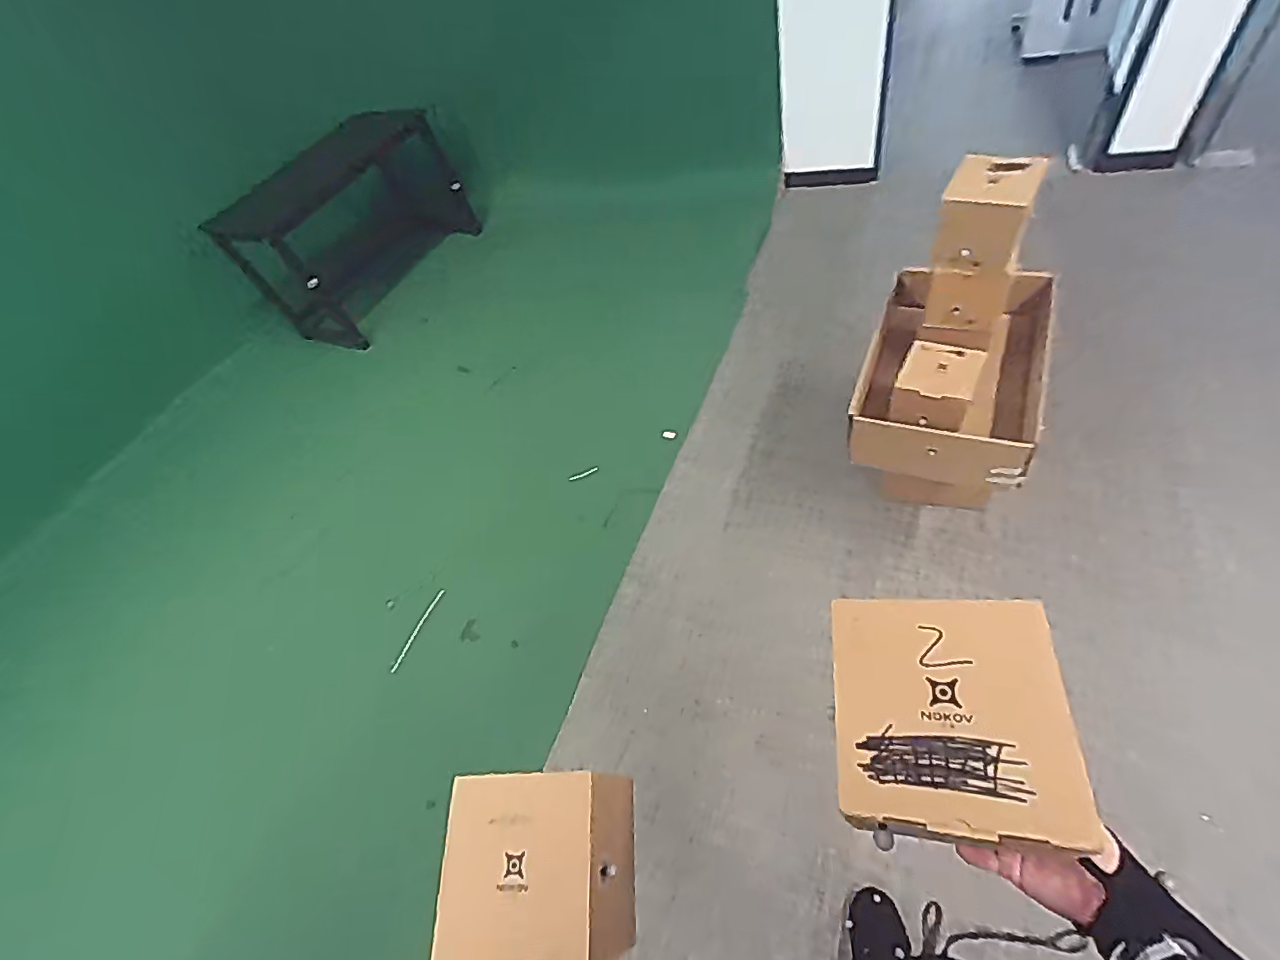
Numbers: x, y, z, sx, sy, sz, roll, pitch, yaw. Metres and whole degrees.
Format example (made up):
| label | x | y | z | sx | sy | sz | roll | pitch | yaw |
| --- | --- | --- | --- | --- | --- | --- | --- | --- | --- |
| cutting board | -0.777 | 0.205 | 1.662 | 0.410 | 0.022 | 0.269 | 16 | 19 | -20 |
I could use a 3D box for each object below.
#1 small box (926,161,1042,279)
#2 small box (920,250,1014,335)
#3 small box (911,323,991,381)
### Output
| label | x | y | z | sx | sy | sz | roll | pitch | yaw |
| --- | --- | --- | --- | --- | --- | --- | --- | --- | --- |
| small box | 0.767 | -0.588 | 1.223 | 0.168 | 0.176 | 0.179 | 22 | 65 | 29 |
| small box | 0.810 | -0.490 | 1.348 | 0.168 | 0.176 | 0.179 | 13 | 60 | 24 |
| small box | 0.851 | -0.399 | 1.475 | 0.168 | 0.176 | 0.179 | 13 | 60 | 26 |
